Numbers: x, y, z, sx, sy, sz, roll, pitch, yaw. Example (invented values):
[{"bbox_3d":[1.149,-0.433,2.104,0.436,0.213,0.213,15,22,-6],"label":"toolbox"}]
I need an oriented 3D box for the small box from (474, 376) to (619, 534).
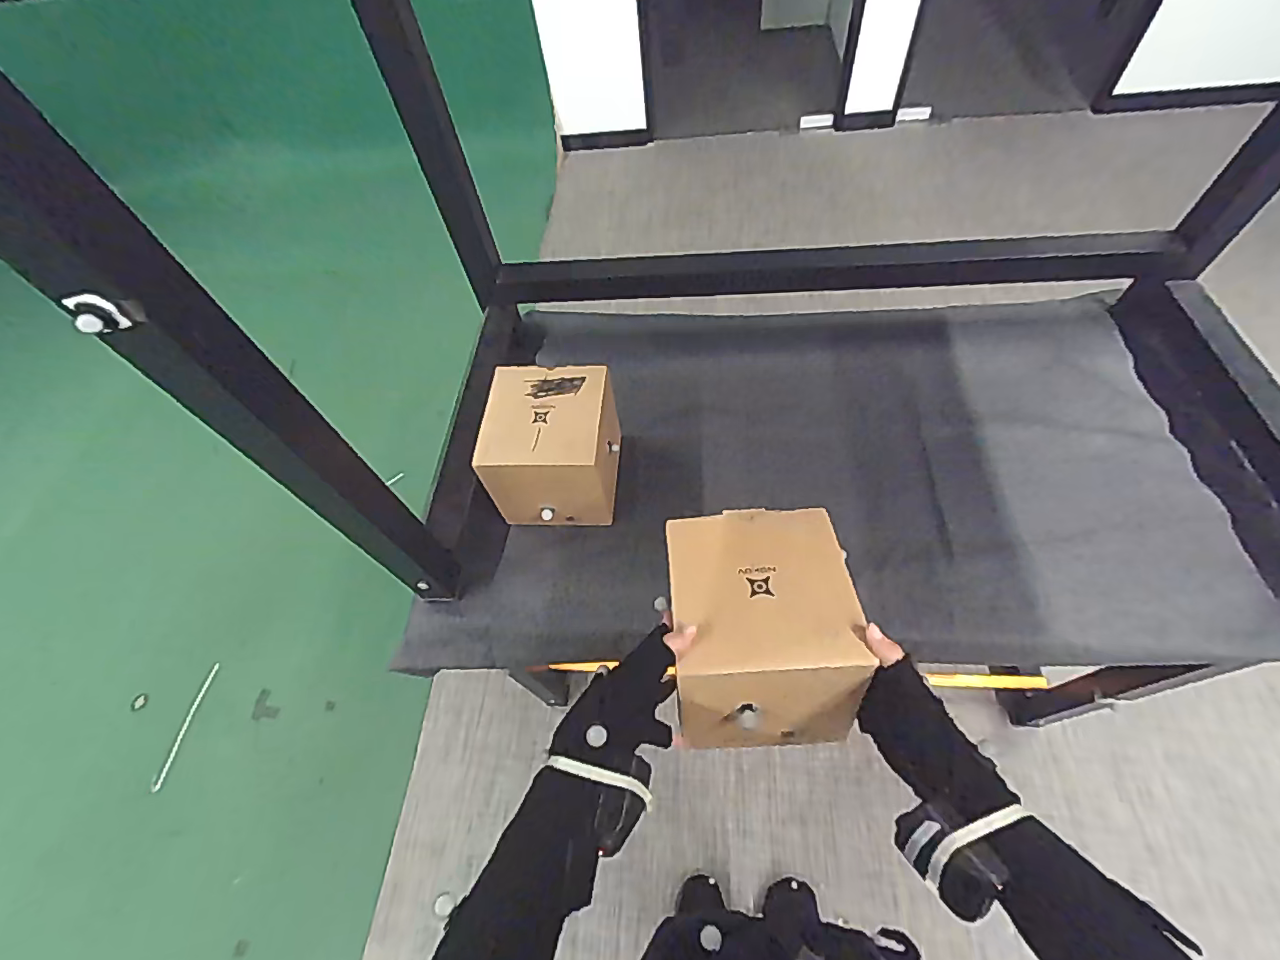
[{"bbox_3d":[-0.126,-0.037,0.813,0.168,0.176,0.179,0,57,6],"label":"small box"}]

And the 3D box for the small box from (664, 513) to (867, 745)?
[{"bbox_3d":[0.116,0.158,0.560,0.168,0.176,0.179,-5,42,3],"label":"small box"}]
